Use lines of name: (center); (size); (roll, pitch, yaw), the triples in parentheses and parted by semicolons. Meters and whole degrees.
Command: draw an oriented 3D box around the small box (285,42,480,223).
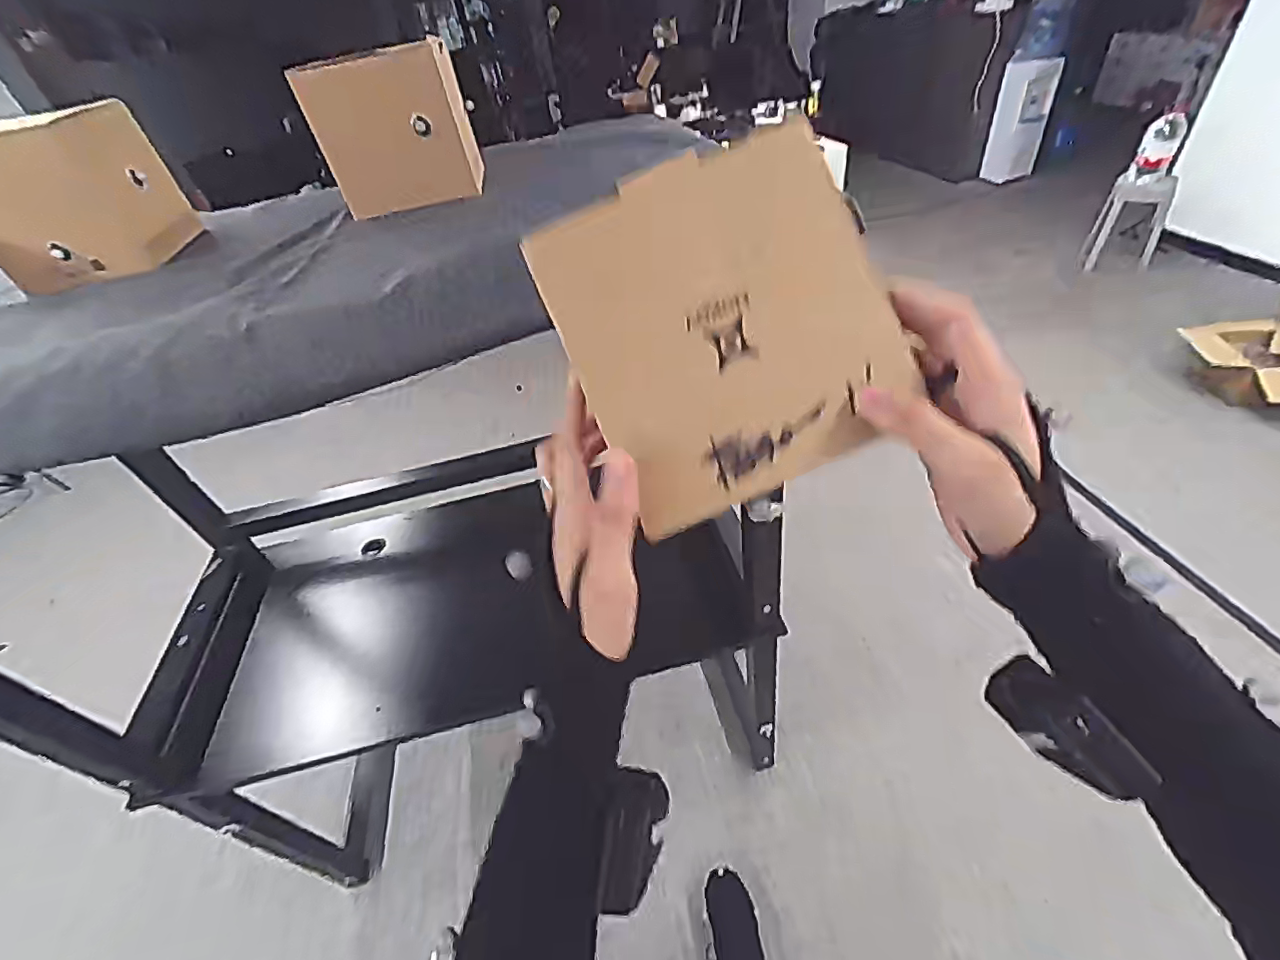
small box: (-0.332, -0.476, 0.742); (0.179, 0.176, 0.168); (-13, 41, -2)
